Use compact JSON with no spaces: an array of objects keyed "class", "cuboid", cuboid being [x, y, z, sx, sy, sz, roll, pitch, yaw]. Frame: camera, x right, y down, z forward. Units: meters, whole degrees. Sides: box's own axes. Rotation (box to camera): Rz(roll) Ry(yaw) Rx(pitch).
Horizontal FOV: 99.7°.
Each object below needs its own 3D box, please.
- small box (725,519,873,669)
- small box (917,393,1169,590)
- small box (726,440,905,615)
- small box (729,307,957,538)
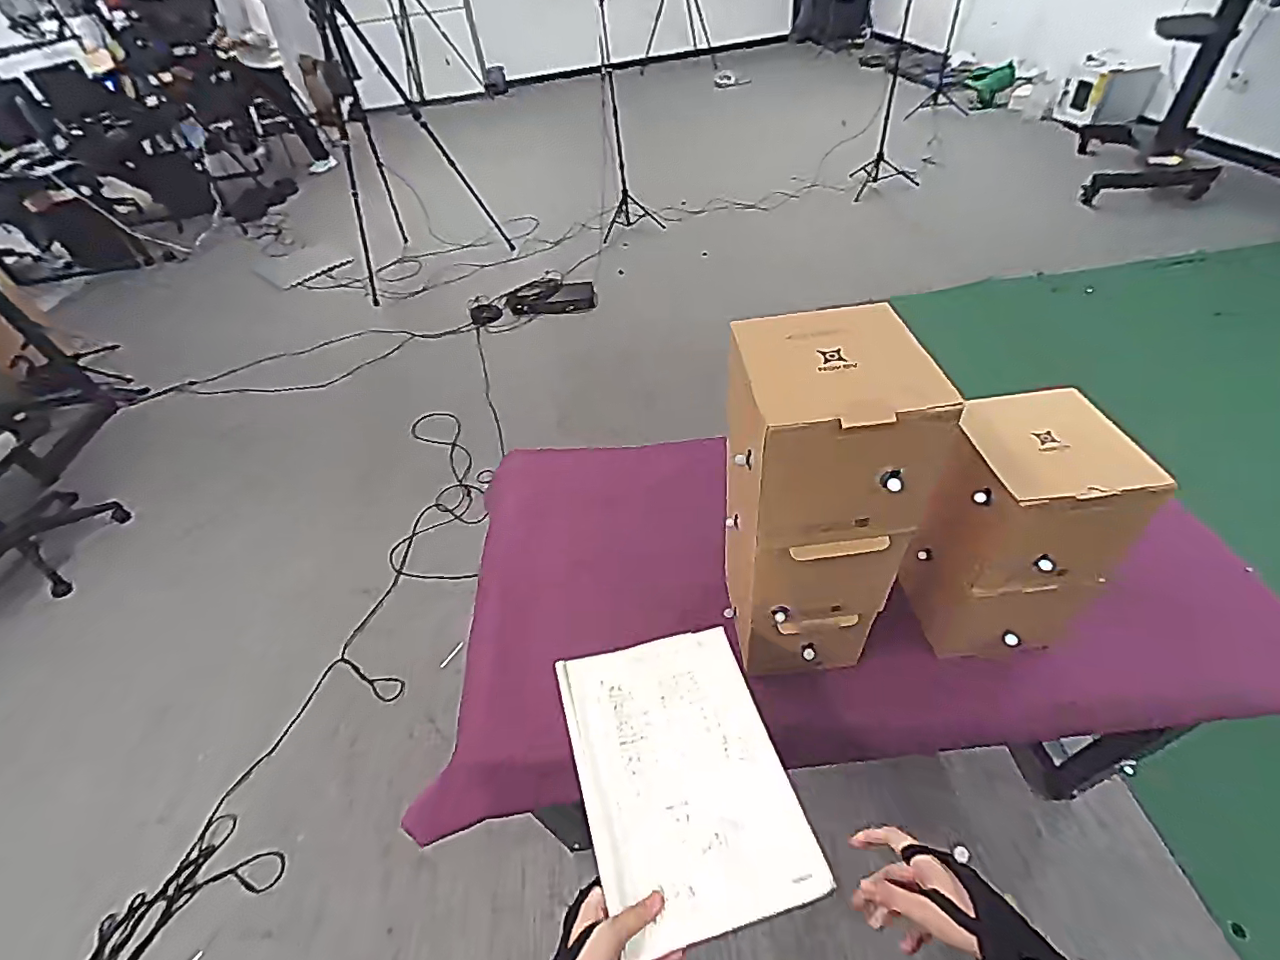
[{"class":"small box","cuboid":[0.222,0.165,0.803,0.168,0.176,0.179,-7,46,2]},{"class":"small box","cuboid":[0.474,0.015,0.679,0.168,0.176,0.179,-7,45,2]},{"class":"small box","cuboid":[0.204,0.056,0.681,0.168,0.176,0.179,-7,45,2]},{"class":"small box","cuboid":[0.187,-0.053,0.561,0.168,0.176,0.179,-6,45,2]}]
